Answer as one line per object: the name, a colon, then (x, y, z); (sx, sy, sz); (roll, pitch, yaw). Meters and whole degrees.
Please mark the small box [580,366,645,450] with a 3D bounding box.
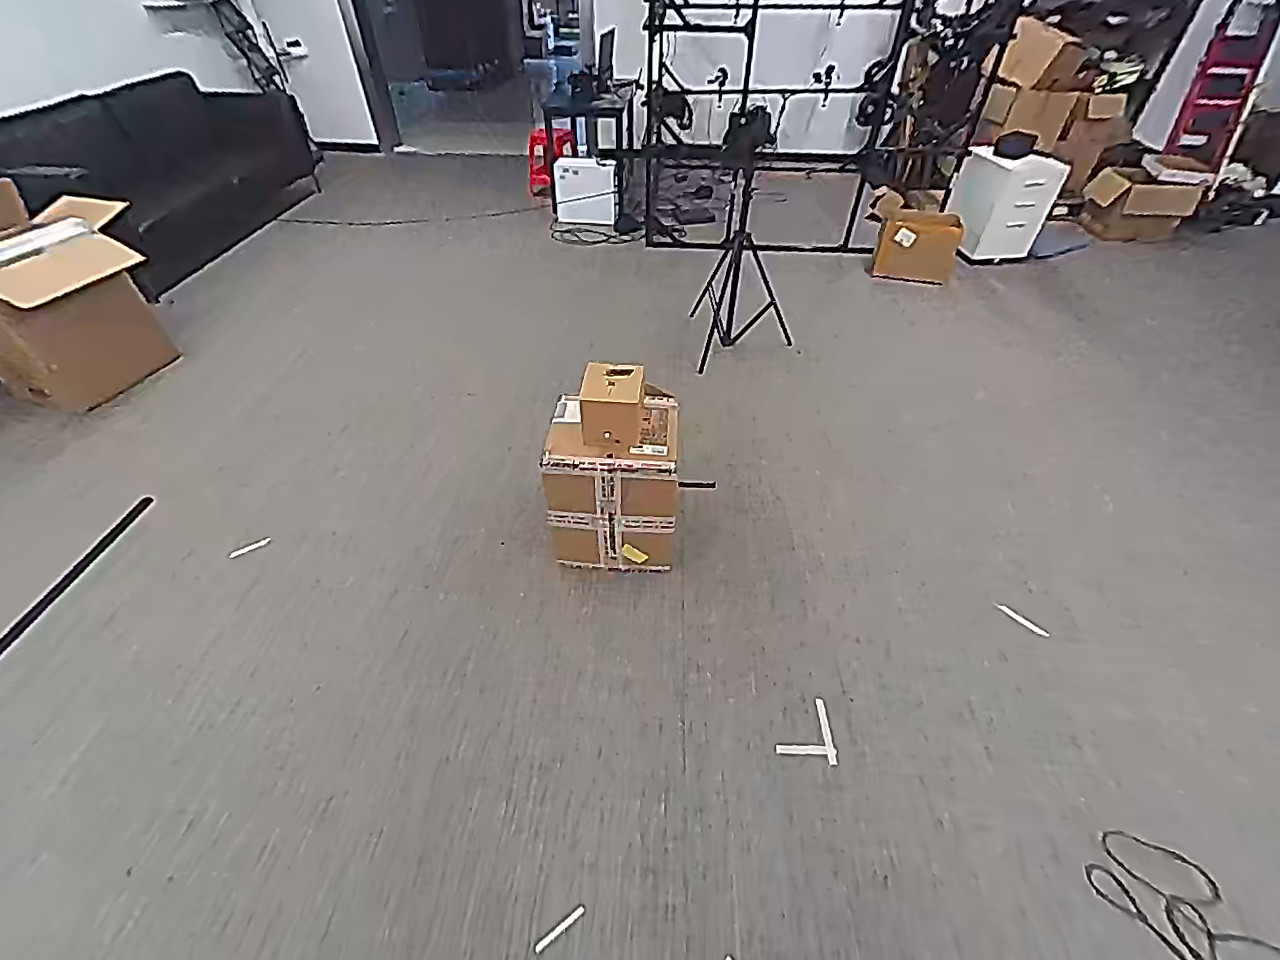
small box: (-0.077, -0.210, 1.578); (0.168, 0.176, 0.179); (4, 47, 4)
